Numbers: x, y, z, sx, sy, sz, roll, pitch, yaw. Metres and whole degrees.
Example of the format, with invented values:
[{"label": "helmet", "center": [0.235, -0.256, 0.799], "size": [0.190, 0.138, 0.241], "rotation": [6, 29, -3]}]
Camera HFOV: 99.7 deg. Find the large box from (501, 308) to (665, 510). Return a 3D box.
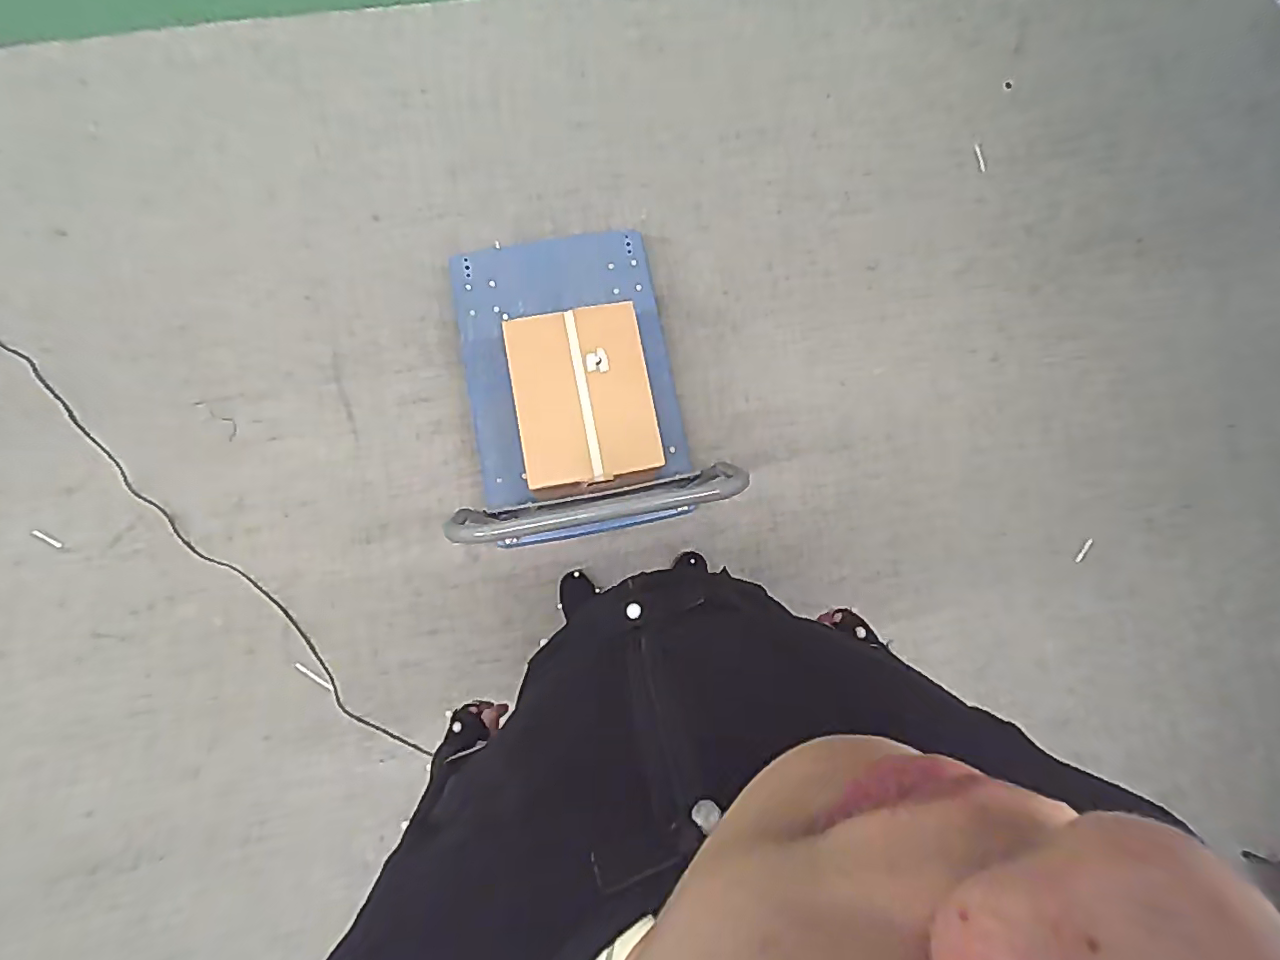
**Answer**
[{"label": "large box", "center": [-0.140, -0.162, 1.384], "size": [0.320, 0.320, 0.408], "rotation": [-11, 81, -6]}]
